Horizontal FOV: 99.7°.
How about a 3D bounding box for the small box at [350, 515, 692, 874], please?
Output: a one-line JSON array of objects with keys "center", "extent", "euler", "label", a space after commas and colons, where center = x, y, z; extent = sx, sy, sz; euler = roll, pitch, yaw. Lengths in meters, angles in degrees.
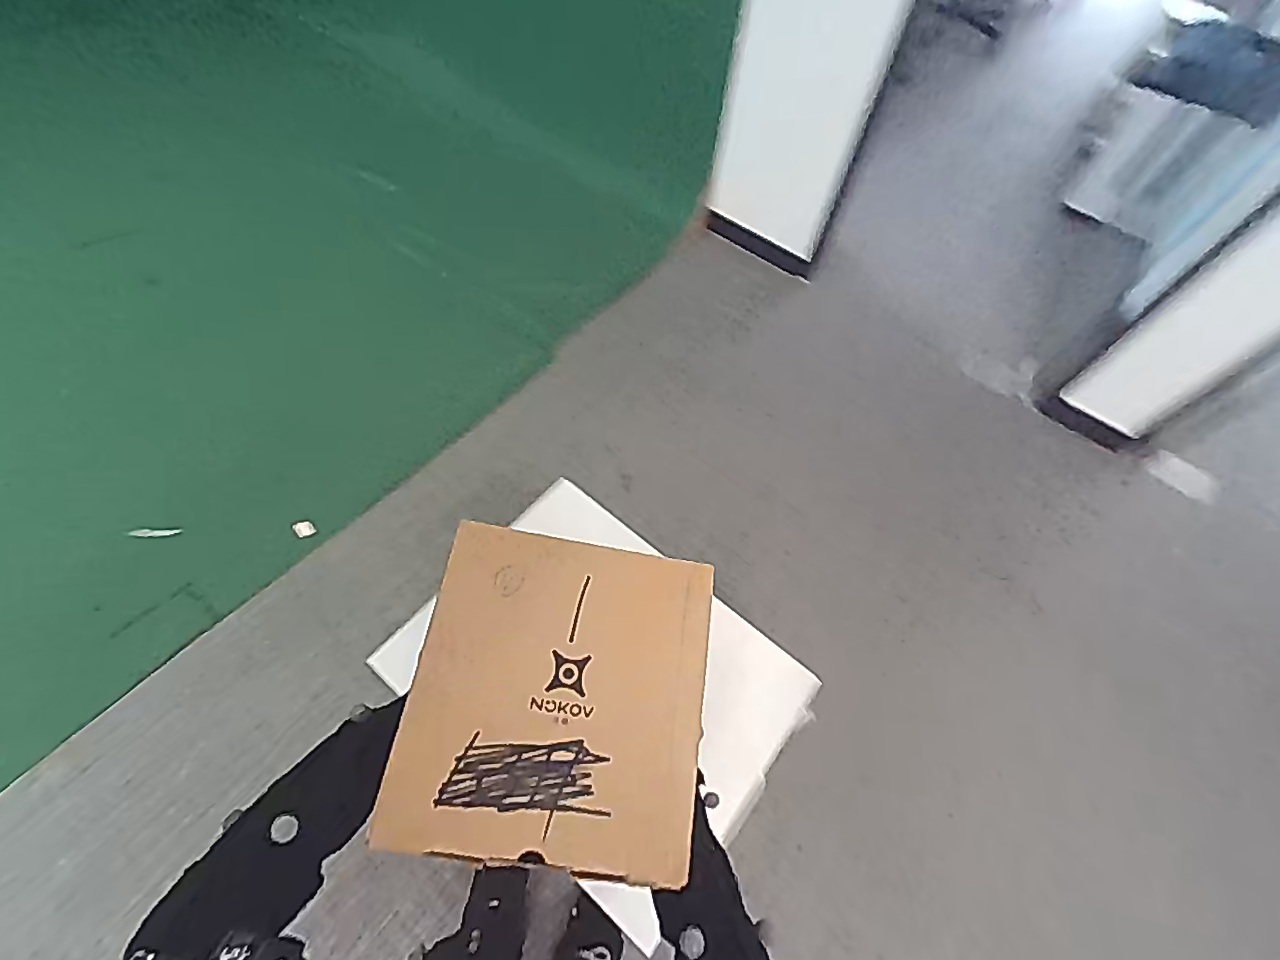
[{"center": [-0.069, 0.142, 0.382], "extent": [0.168, 0.176, 0.179], "euler": [10, 68, -6], "label": "small box"}]
